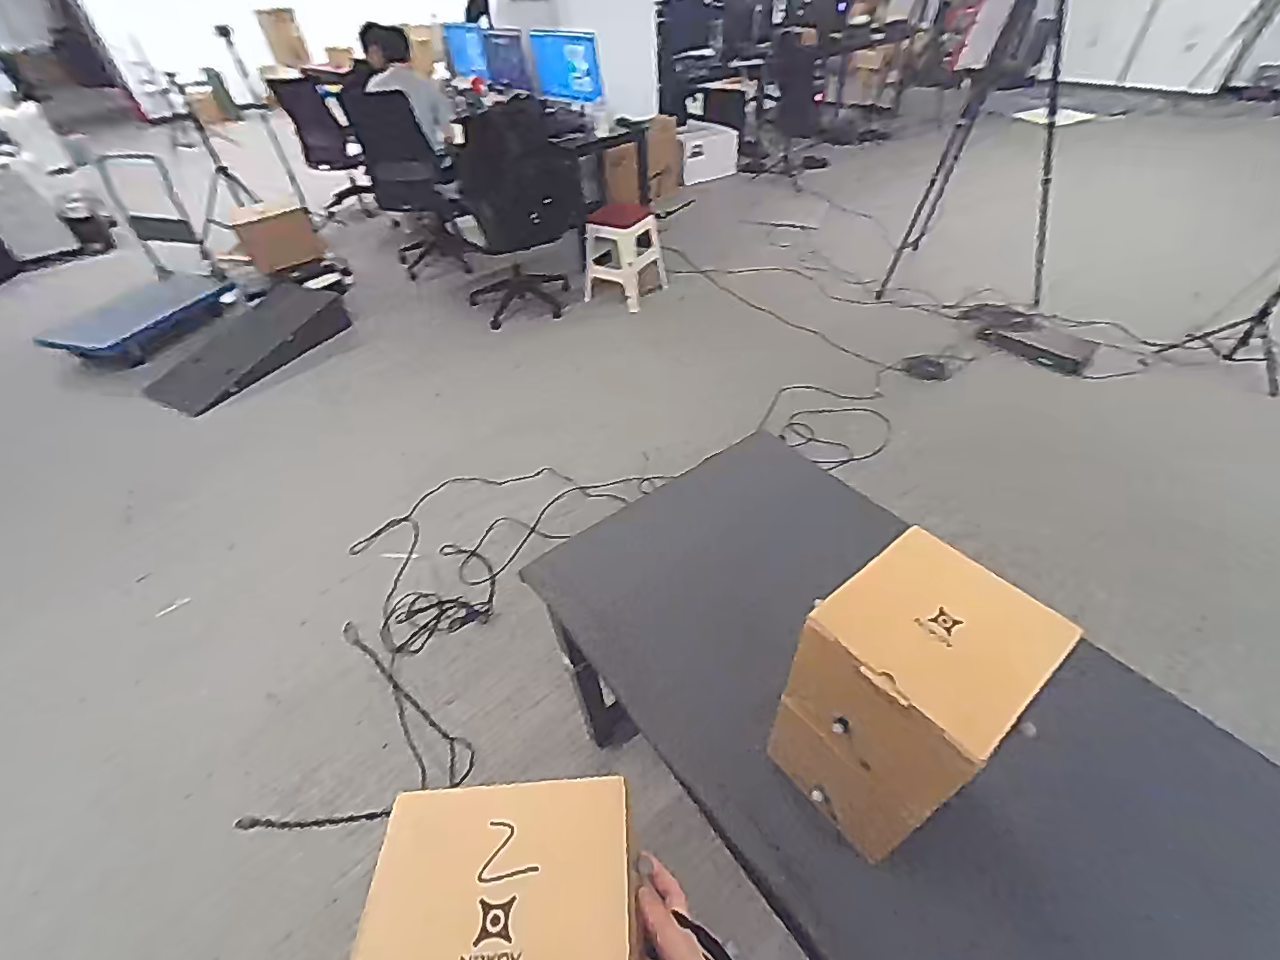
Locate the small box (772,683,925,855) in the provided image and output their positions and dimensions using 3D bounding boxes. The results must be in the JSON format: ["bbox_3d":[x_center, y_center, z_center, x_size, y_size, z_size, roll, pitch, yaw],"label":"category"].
[{"bbox_3d":[0.277,0.299,0.649,0.179,0.176,0.168,-30,49,-25],"label":"small box"}]

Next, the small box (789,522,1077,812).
[{"bbox_3d":[0.269,0.181,0.537,0.179,0.176,0.168,-31,50,-25],"label":"small box"}]
